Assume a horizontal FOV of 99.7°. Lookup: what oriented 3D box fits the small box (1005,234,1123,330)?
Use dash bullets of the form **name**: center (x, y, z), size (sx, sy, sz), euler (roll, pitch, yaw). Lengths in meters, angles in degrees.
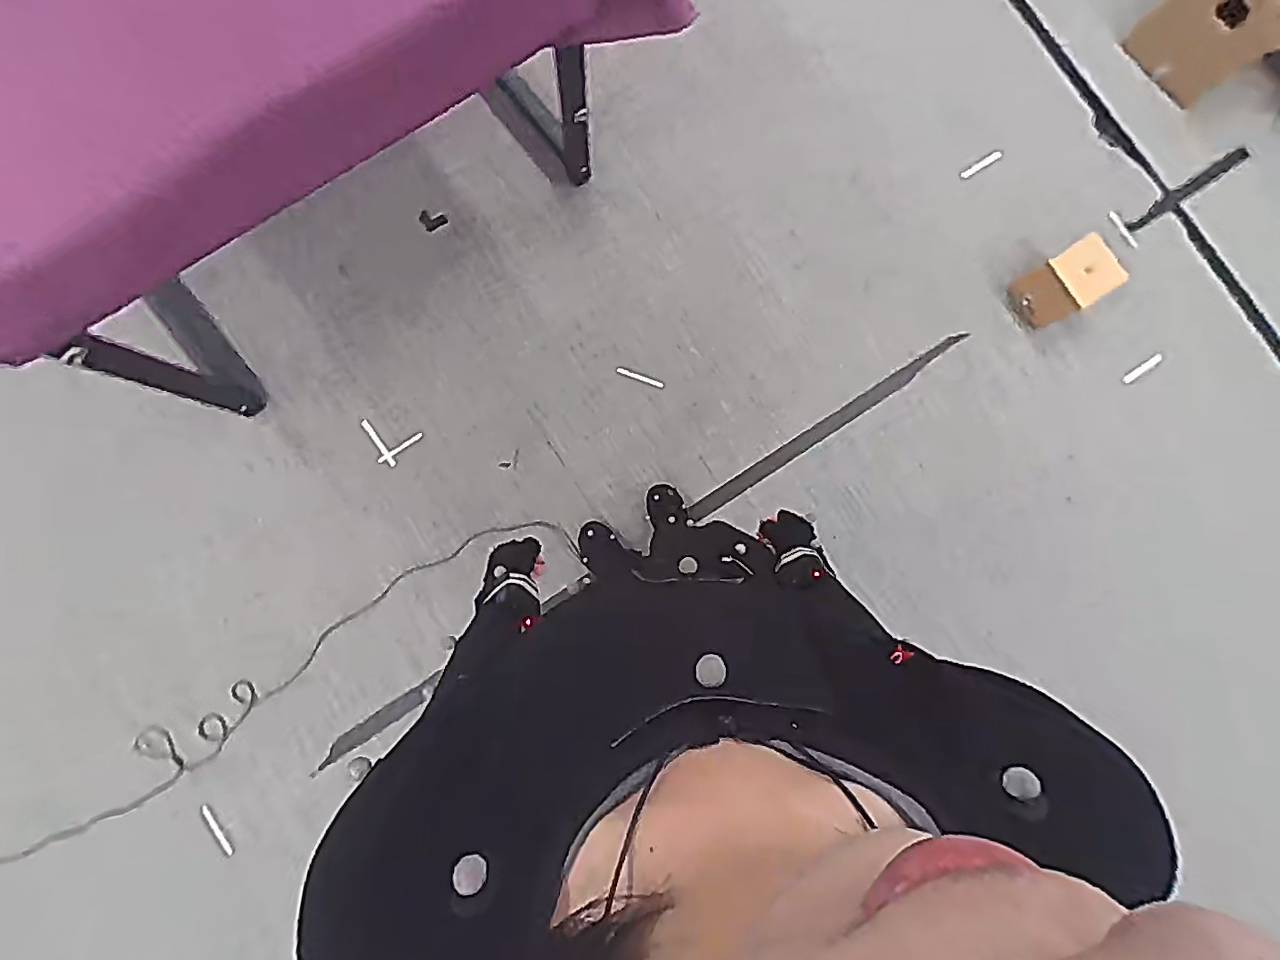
- **small box**: center (1.233, -0.574, 1.584), size (0.179, 0.176, 0.168), euler (-34, 87, -5)
